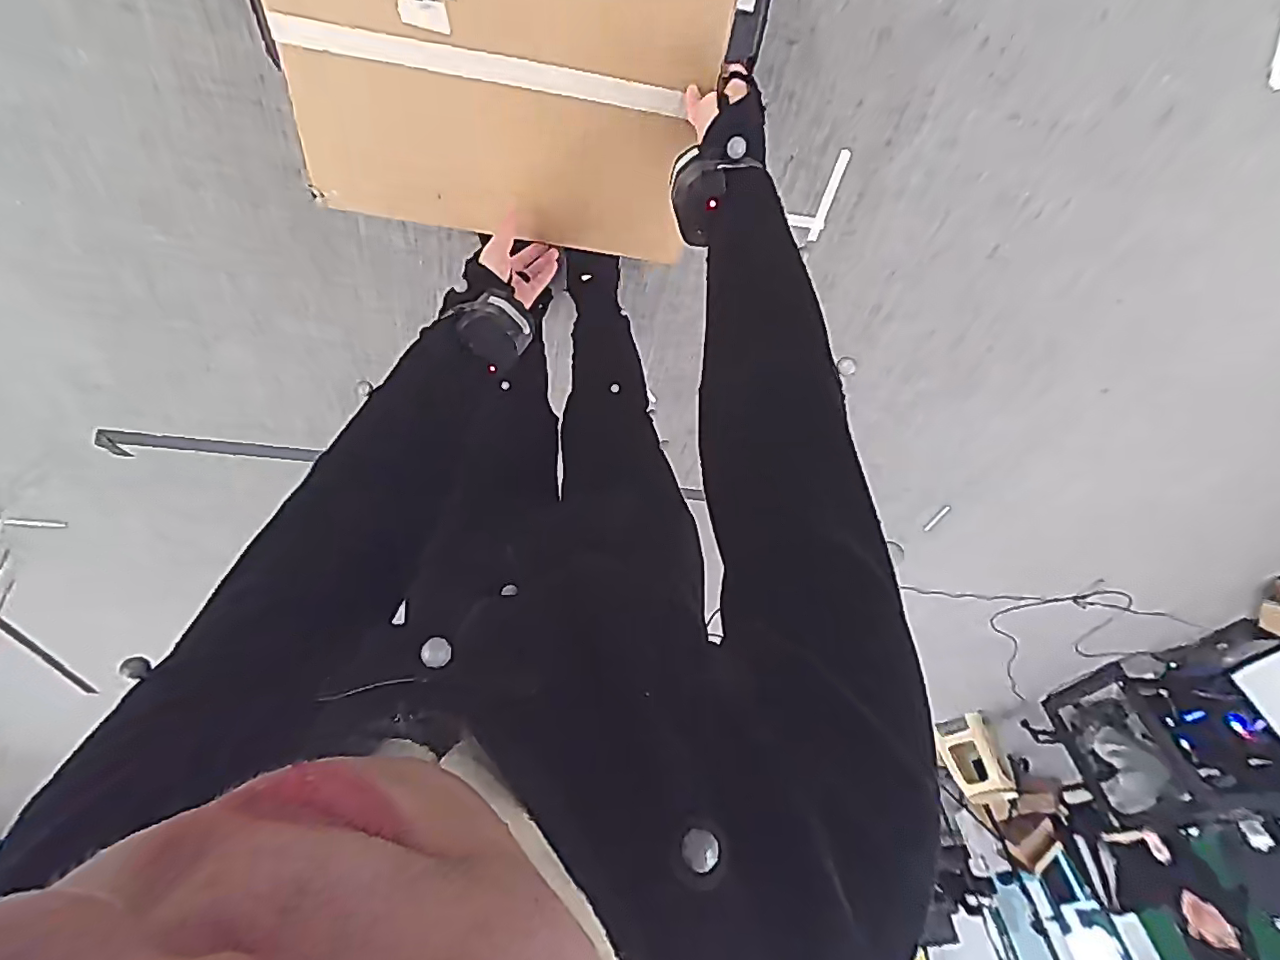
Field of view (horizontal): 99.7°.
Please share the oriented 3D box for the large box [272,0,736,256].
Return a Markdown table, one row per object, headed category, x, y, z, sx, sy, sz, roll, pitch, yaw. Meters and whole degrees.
| category | x | y | z | sx | sy | sz | roll | pitch | yaw |
| --- | --- | --- | --- | --- | --- | --- | --- | --- | --- |
| large box | -0.122 | -0.491 | 0.599 | 0.408 | 0.320 | 0.320 | 7 | 136 | -7 |
